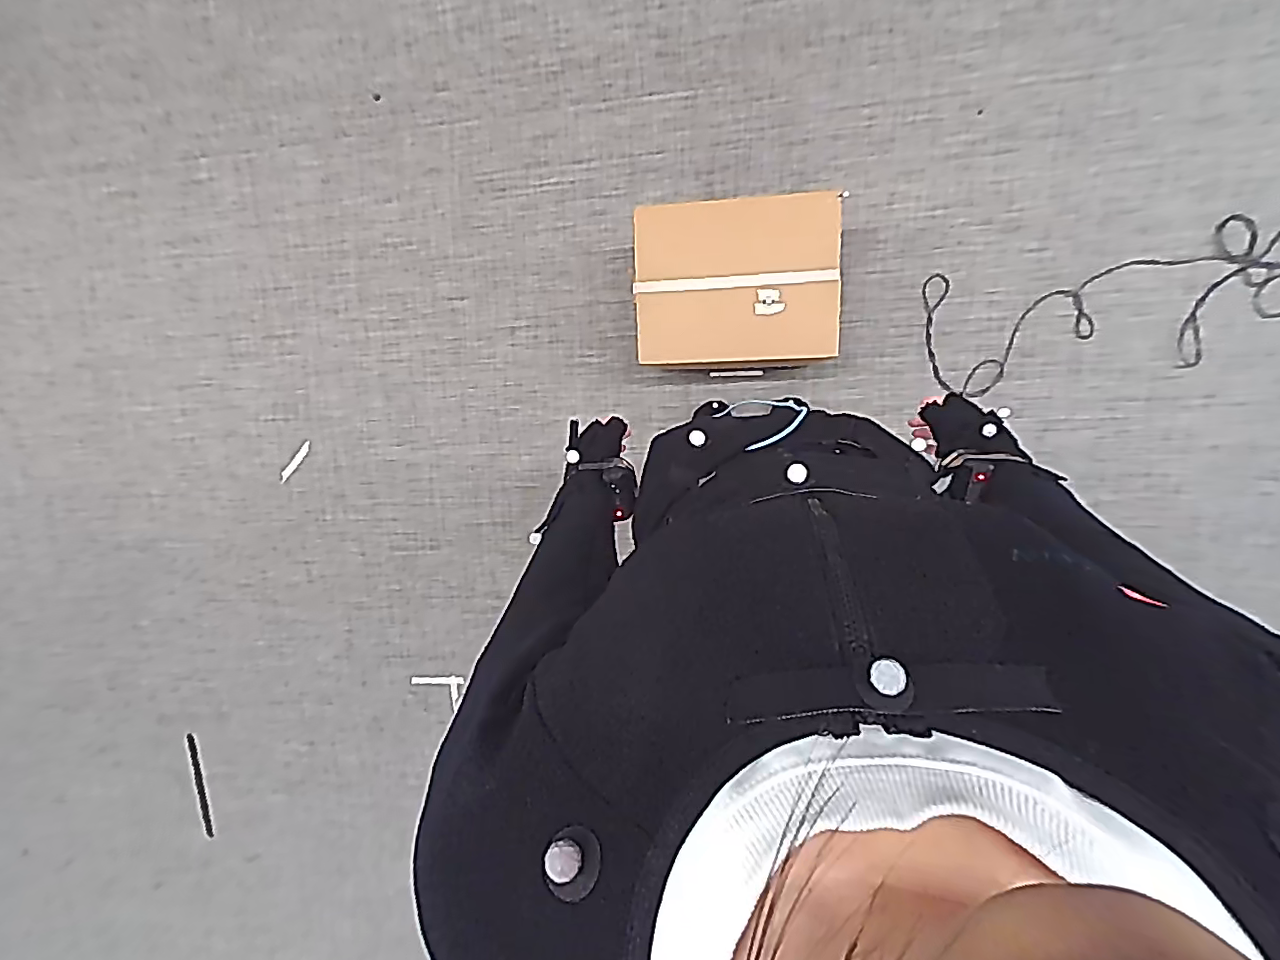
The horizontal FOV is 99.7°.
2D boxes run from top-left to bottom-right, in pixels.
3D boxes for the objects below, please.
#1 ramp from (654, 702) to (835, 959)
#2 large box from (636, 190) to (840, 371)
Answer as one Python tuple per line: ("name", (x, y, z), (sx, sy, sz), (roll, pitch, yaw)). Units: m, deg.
("ramp", (0.285, 1.143, 1.517), (0.509, 0.206, 0.991), (0, 98, 10))
("large box", (0.212, -0.422, 1.230), (0.408, 0.320, 0.320), (-1, 99, 8))
